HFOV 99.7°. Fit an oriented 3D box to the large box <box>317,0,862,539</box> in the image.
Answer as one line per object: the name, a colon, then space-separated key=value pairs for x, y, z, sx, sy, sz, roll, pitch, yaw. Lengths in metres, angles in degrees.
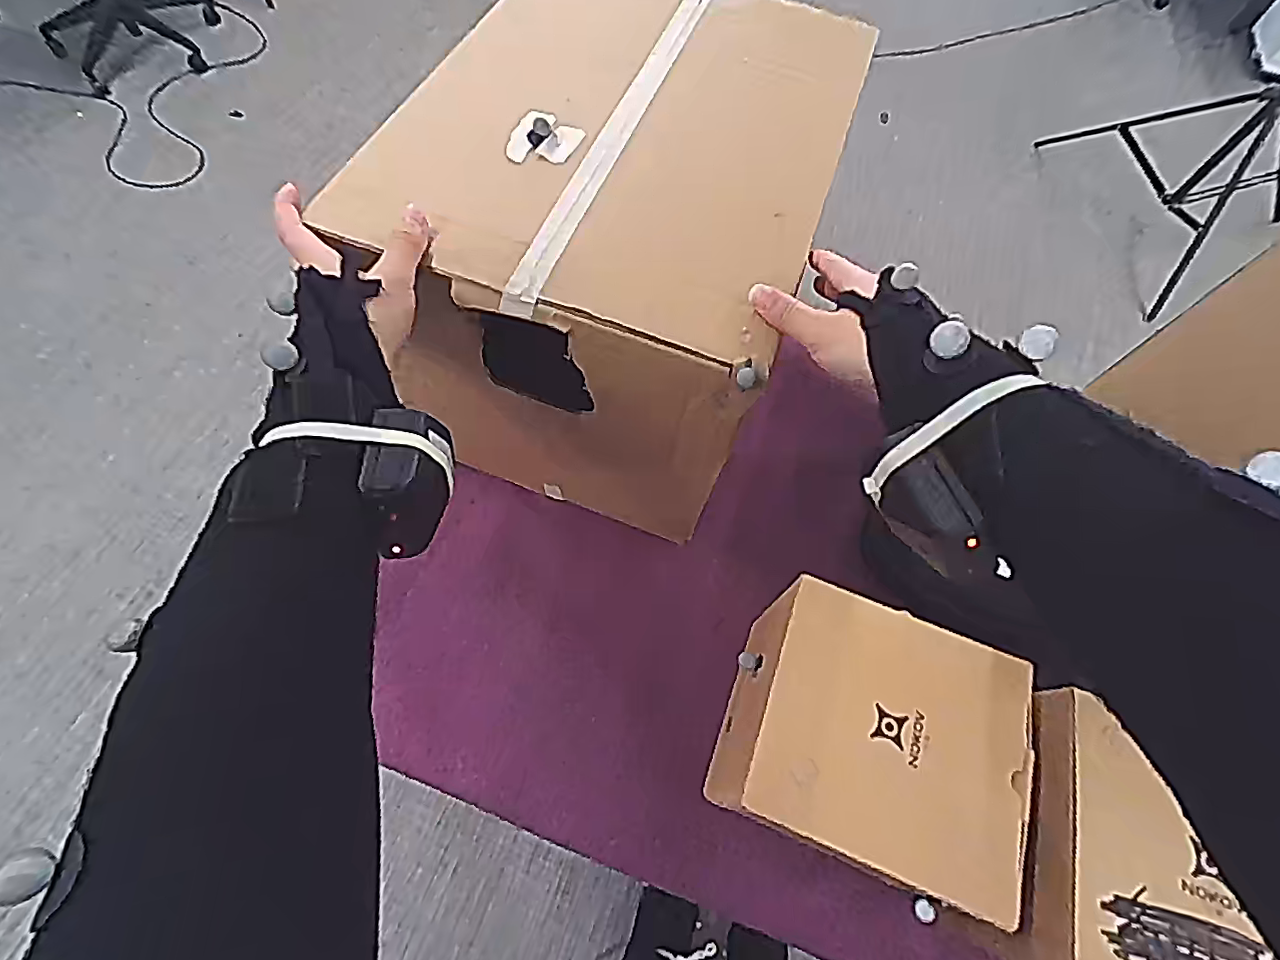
large box: x=-0.015 y=-0.208 z=0.551 sx=0.320 sy=0.320 sz=0.408 roll=19 pitch=67 yaw=6
